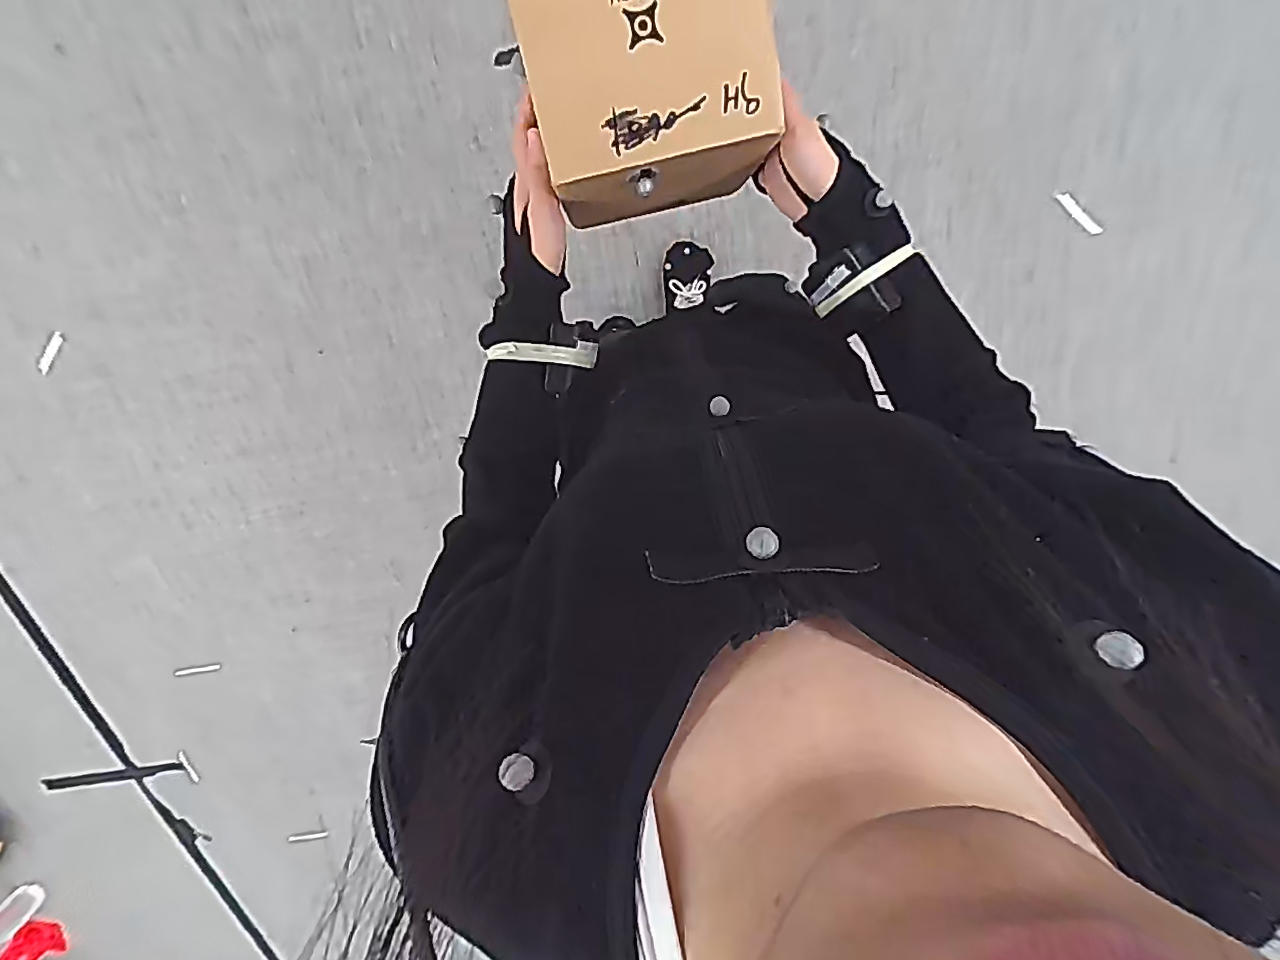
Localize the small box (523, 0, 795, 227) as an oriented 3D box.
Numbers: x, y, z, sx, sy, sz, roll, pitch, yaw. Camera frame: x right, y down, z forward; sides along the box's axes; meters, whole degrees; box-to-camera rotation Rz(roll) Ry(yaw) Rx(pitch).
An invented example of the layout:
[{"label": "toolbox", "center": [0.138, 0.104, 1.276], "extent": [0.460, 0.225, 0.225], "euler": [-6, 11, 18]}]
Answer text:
[{"label": "small box", "center": [0.005, -0.321, 0.422], "extent": [0.168, 0.176, 0.179], "euler": [-12, 105, 2]}]
